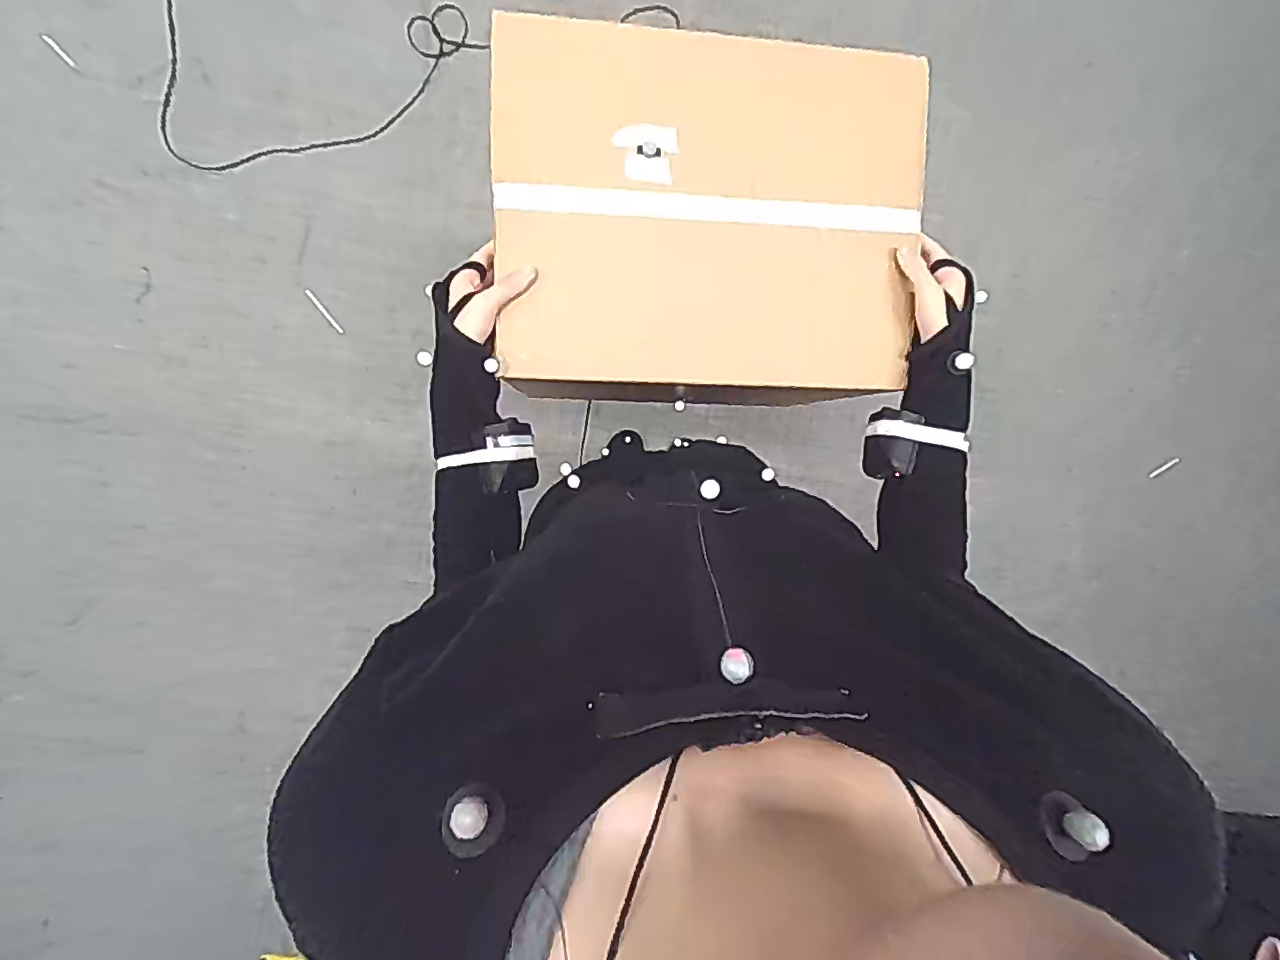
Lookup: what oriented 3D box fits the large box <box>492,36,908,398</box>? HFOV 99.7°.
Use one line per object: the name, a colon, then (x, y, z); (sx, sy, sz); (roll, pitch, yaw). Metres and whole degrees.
large box: (0.050, -0.262, 0.665); (0.408, 0.320, 0.320); (0, 94, -6)
